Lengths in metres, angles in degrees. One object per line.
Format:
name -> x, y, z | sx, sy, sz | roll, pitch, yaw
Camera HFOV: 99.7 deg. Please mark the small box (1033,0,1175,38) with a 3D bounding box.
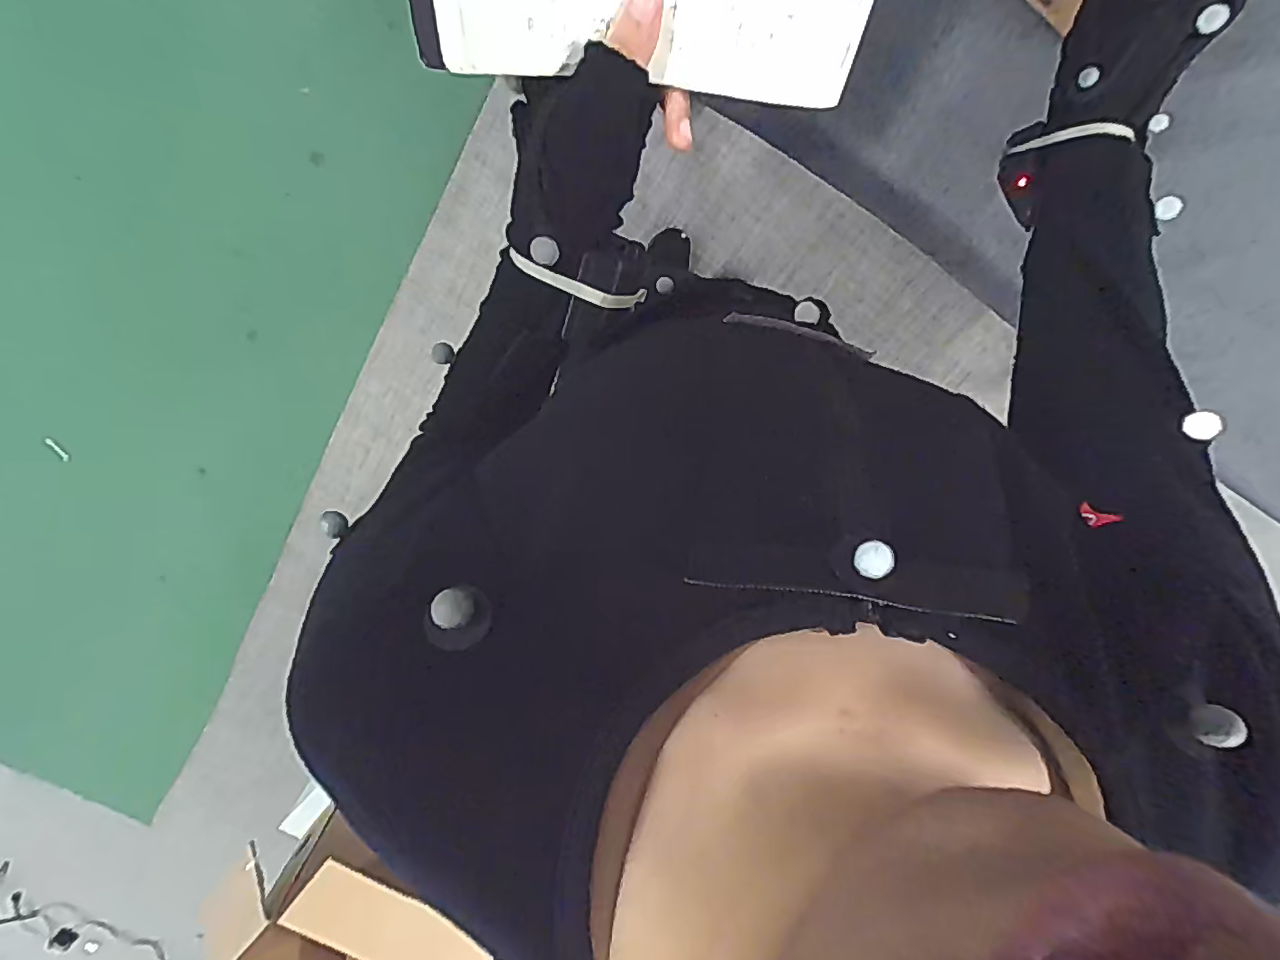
small box -> 0.413, -0.505, 0.416 | 0.168, 0.176, 0.179 | 32, 112, -11
